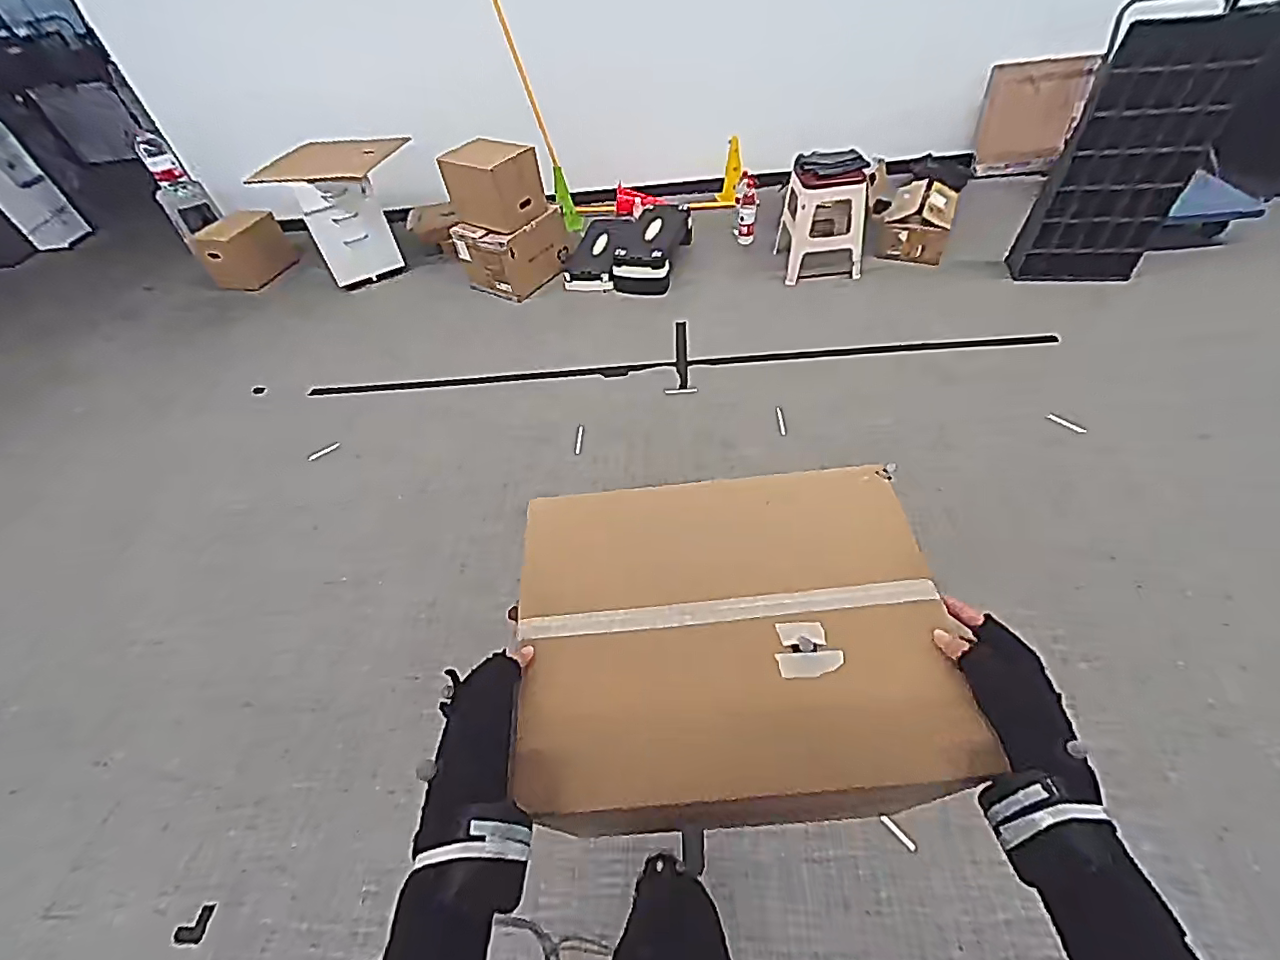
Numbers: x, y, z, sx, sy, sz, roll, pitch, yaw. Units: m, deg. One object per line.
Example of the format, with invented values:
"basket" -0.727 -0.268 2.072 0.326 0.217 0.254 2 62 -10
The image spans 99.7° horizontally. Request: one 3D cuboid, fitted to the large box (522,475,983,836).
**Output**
"large box" 0.093 0.226 0.663 0.408 0.320 0.320 -6 54 1
